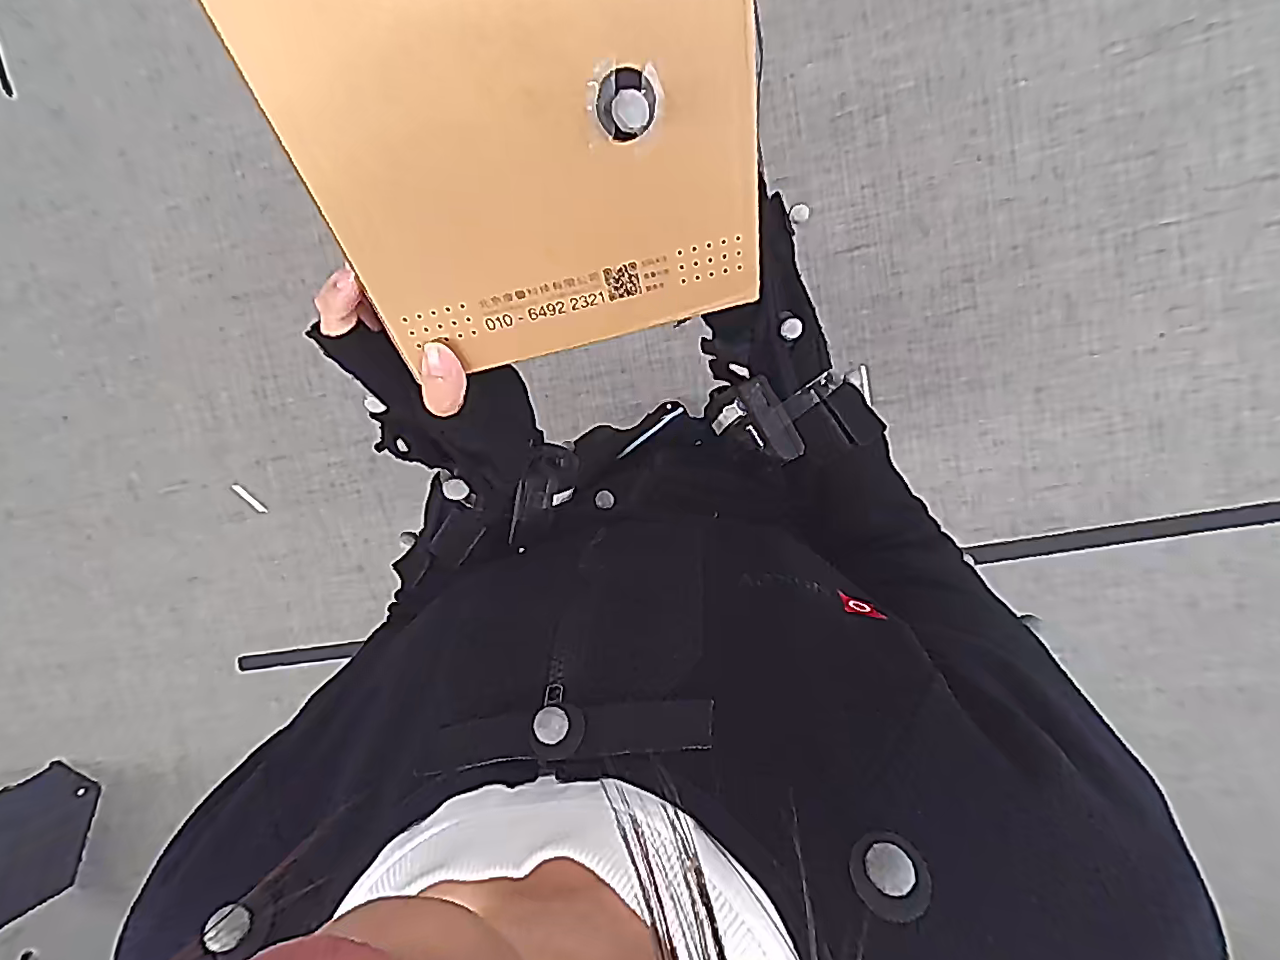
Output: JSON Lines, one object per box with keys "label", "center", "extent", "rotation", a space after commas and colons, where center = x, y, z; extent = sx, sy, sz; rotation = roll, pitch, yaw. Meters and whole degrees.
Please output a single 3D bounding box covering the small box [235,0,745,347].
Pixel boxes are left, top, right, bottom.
{"label": "small box", "center": [-0.049, -0.184, 0.274], "extent": [0.168, 0.179, 0.176], "rotation": [-13, 135, 1]}
